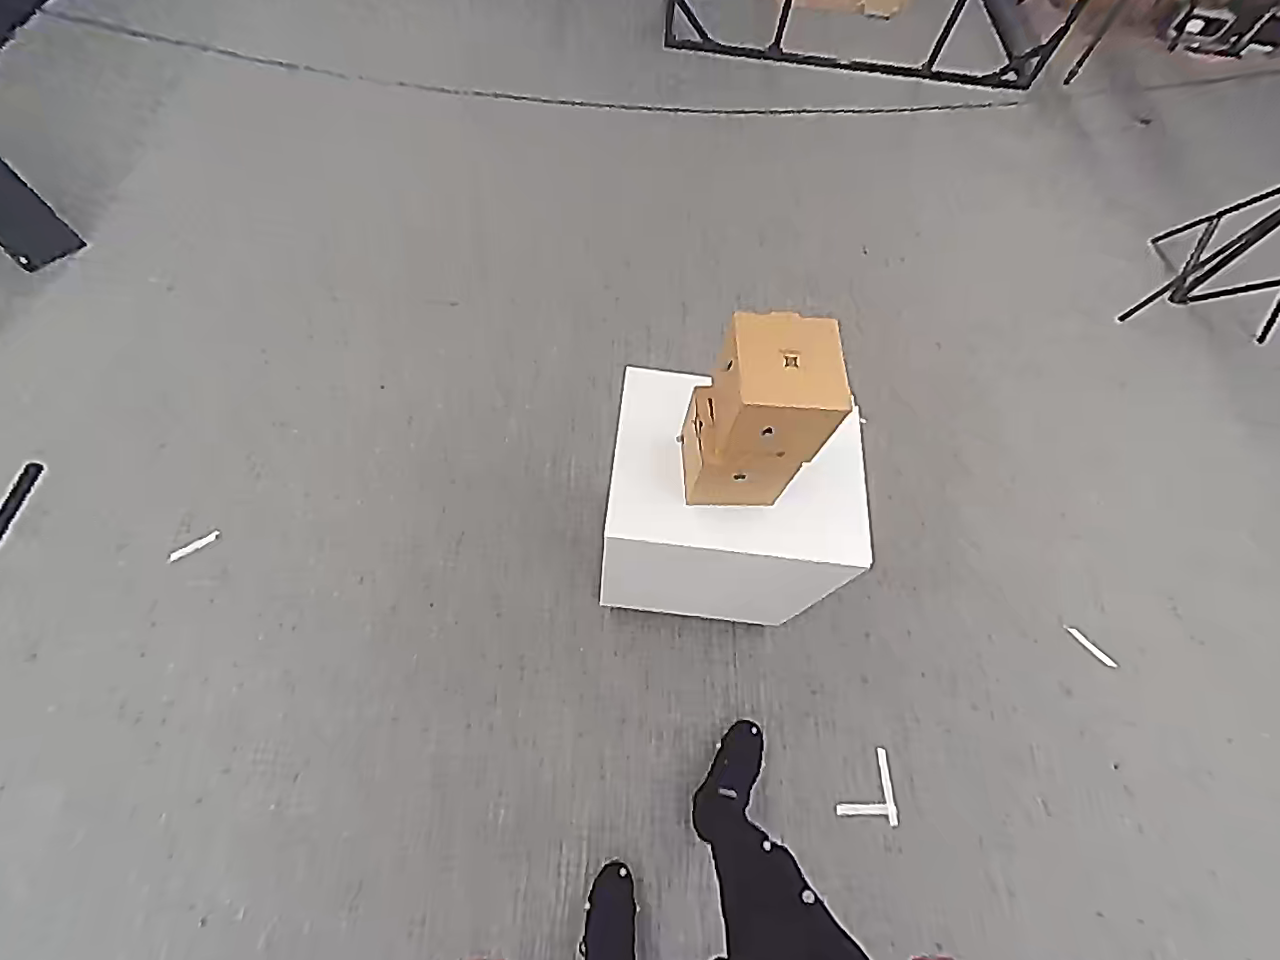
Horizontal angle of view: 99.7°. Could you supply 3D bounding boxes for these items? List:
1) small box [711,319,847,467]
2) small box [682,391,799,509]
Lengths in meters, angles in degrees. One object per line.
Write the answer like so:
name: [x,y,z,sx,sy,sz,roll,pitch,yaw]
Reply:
small box: [0.214,-0.135,0.881,0.168,0.176,0.179,3,62,-4]
small box: [0.176,-0.051,1.018,0.179,0.176,0.168,1,64,-6]
